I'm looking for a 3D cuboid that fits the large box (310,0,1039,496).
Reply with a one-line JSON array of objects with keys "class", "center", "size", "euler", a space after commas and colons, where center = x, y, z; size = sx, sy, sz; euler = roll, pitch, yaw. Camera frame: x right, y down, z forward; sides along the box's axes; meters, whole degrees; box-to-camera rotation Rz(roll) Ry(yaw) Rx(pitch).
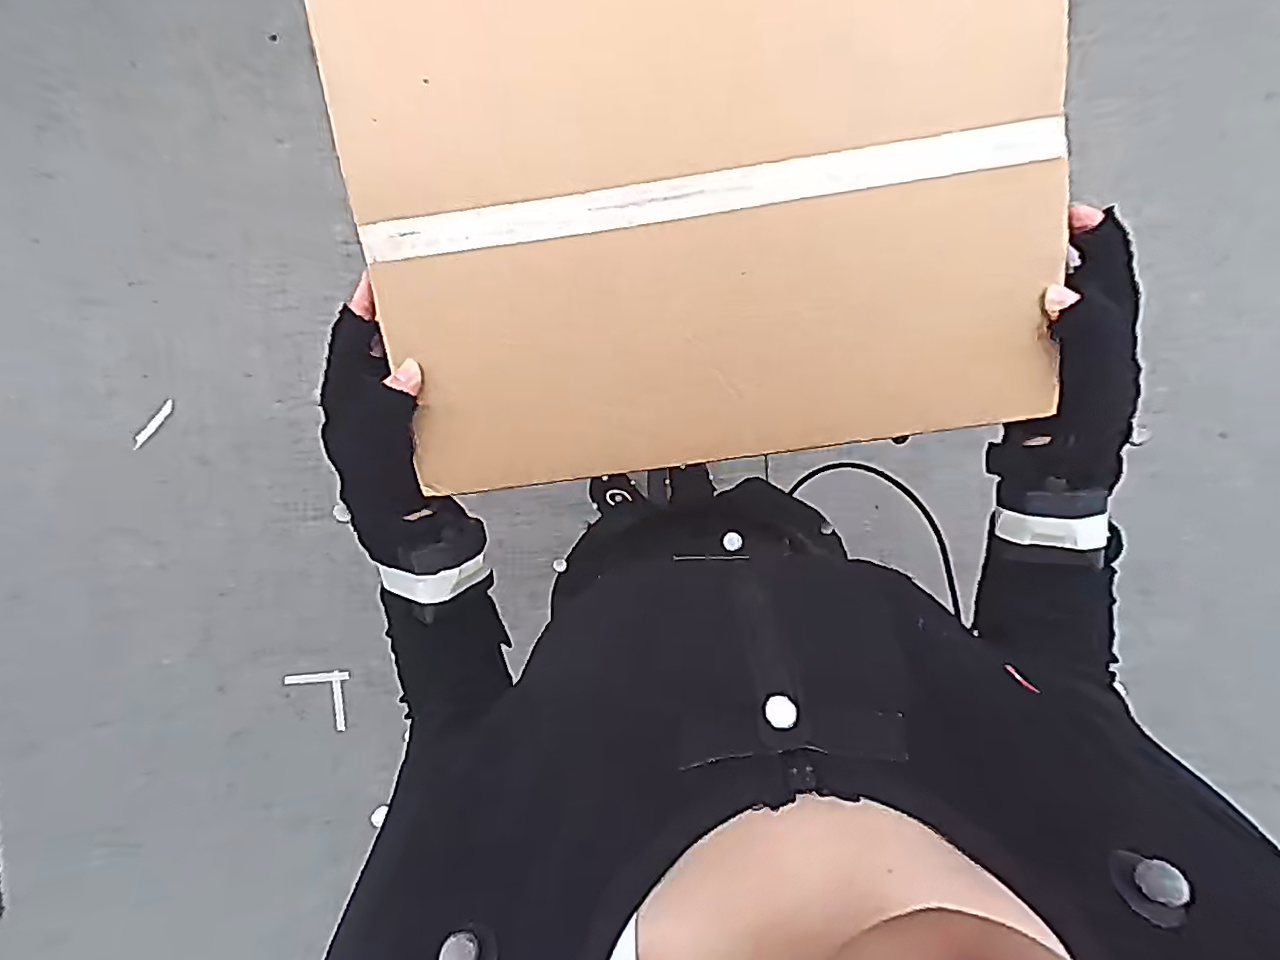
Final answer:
[{"class": "large box", "center": [0.035, -0.199, 0.467], "size": [0.408, 0.320, 0.320], "euler": [-8, 102, 2]}]
